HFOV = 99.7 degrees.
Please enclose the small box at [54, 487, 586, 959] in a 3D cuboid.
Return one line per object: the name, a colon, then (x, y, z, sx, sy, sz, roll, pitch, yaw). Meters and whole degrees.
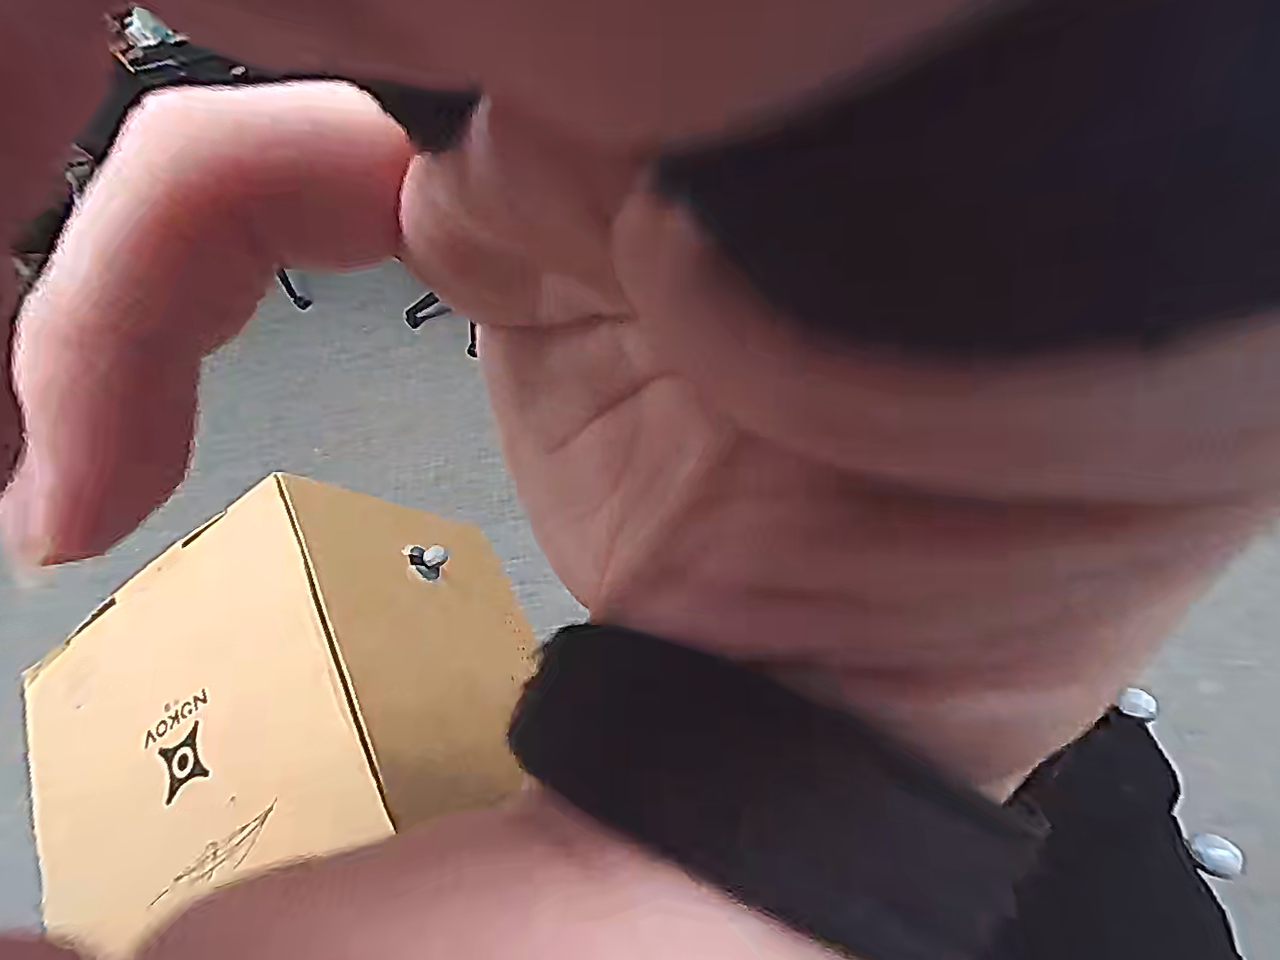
small box: (-0.160, 0.135, 0.305, 0.168, 0.176, 0.179, -36, 68, 6)
